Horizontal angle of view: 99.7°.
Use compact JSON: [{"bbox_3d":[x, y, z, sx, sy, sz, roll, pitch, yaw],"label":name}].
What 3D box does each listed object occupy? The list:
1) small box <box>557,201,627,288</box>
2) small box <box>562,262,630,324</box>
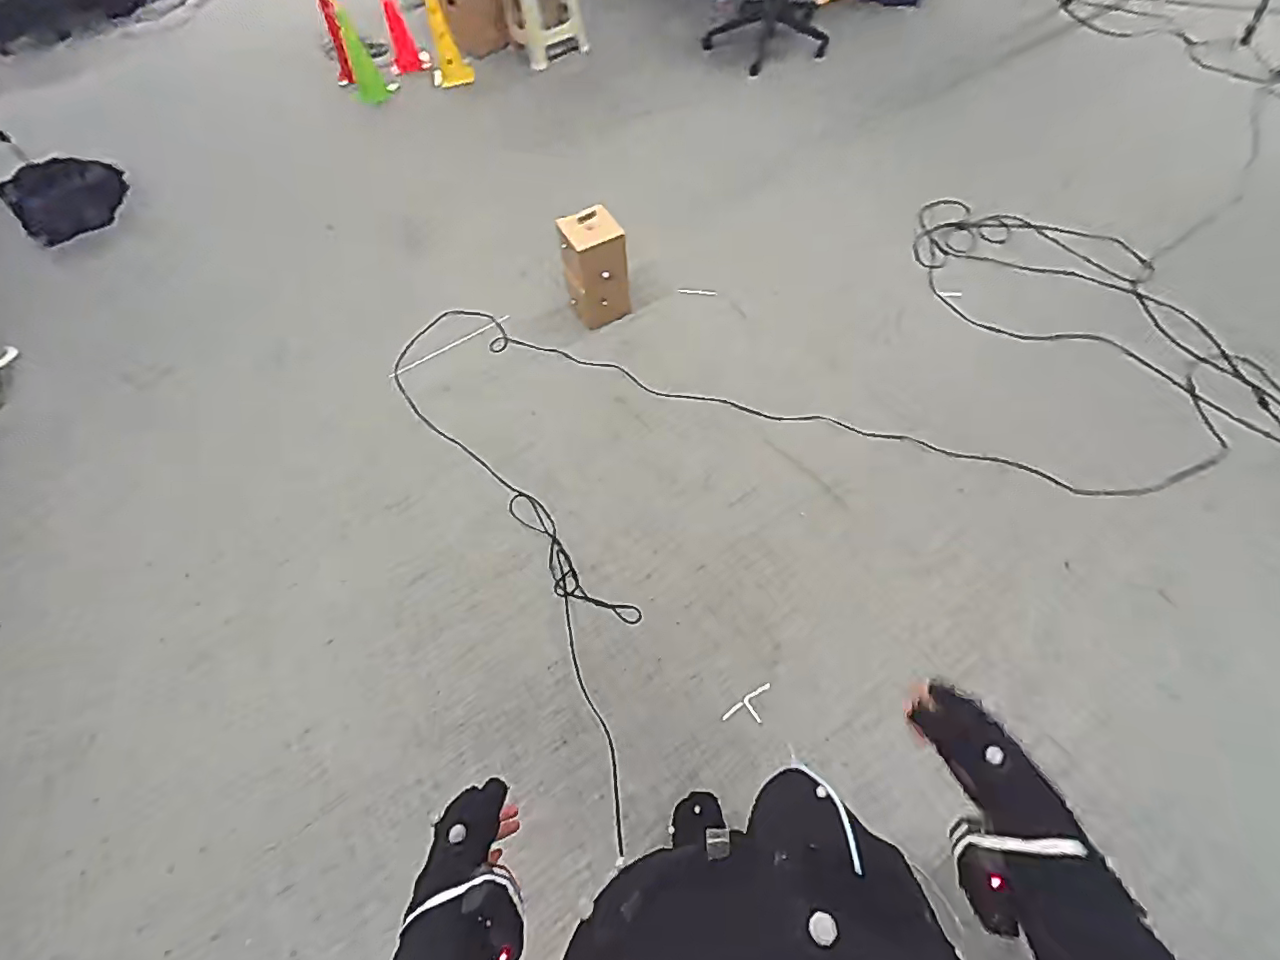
[{"bbox_3d":[-0.153,-0.765,1.761,0.168,0.176,0.179,-27,64,-11],"label":"small box"},{"bbox_3d":[-0.148,-0.683,1.905,0.179,0.176,0.168,-28,64,-11],"label":"small box"}]
